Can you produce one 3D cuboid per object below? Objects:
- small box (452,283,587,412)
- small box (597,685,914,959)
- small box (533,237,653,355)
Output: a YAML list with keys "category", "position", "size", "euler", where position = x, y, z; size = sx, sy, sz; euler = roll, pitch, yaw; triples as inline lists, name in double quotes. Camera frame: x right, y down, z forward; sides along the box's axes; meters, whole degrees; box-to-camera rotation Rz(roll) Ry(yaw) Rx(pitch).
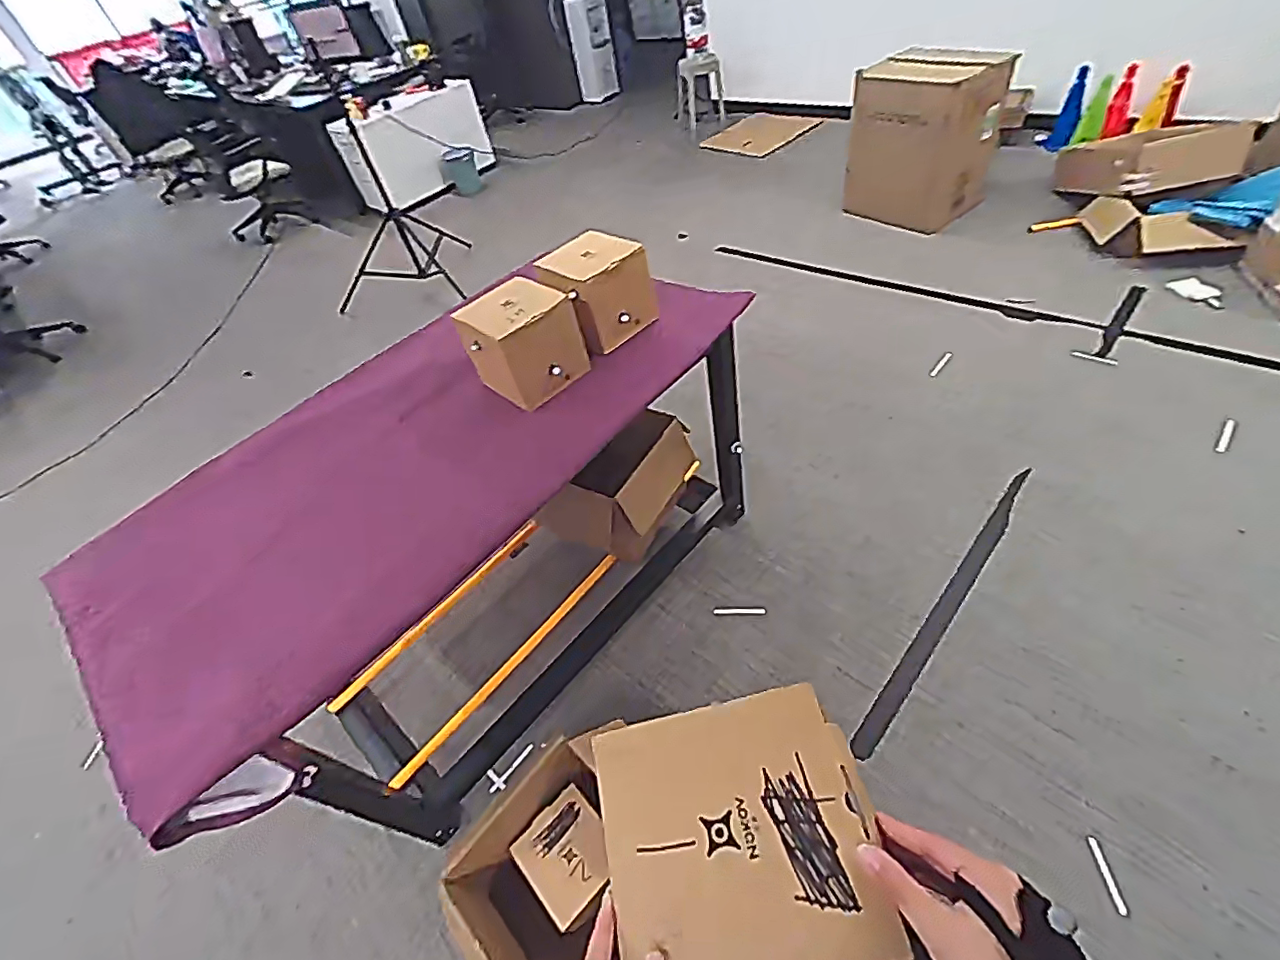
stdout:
- category: "small box"
  position: [-0.233, -0.261, 1.074]
  size: [0.168, 0.176, 0.179]
  euler: [-41, 51, -22]
- category: "small box"
  position: [0.076, 0.284, 0.428]
  size: [0.179, 0.176, 0.168]
  euler: [-14, 52, 1]
- category: "small box"
  position: [-0.095, -0.394, 1.161]
  size: [0.168, 0.176, 0.179]
  euler: [-41, 51, -22]
